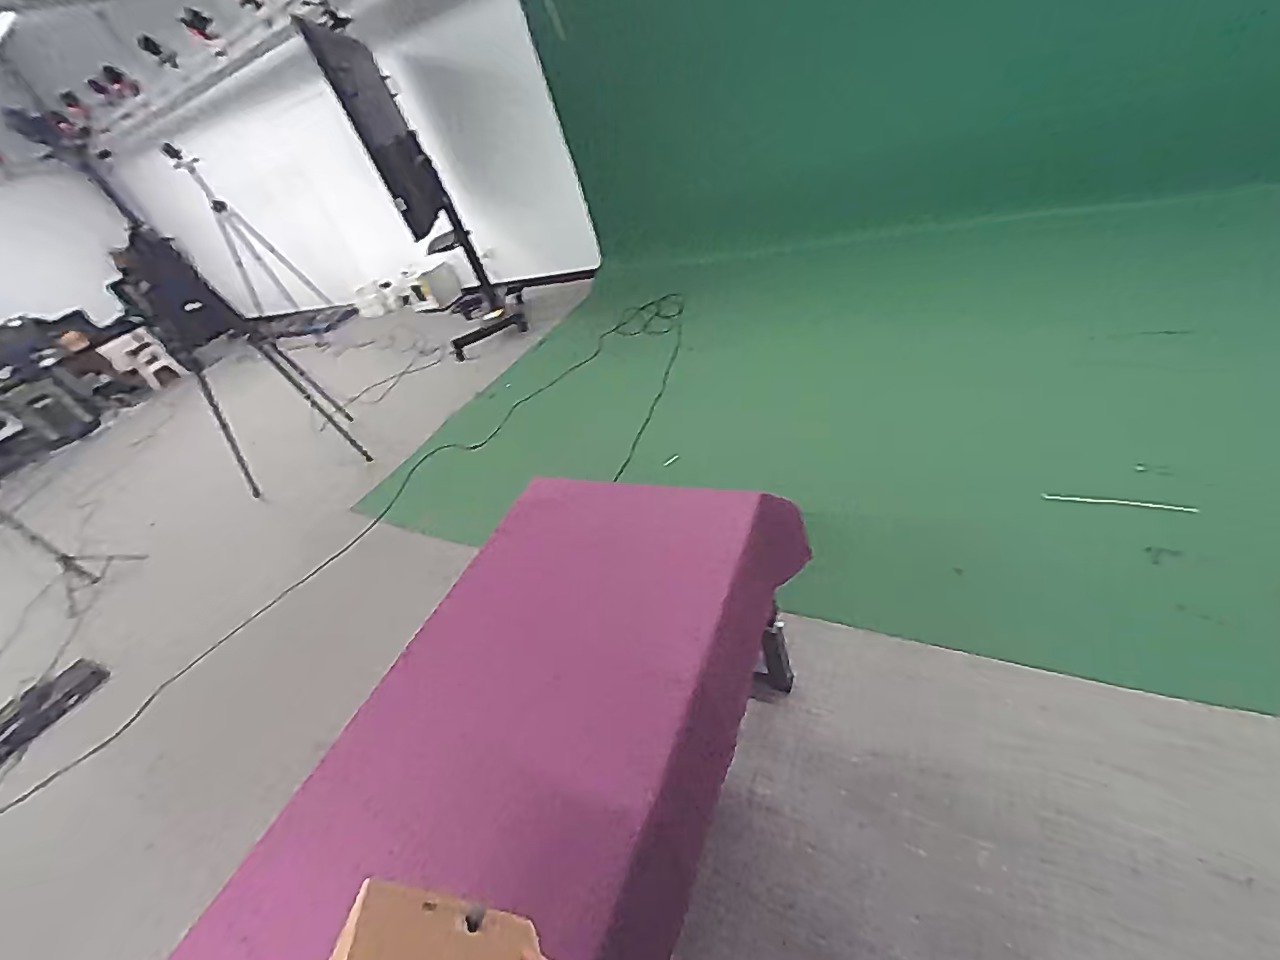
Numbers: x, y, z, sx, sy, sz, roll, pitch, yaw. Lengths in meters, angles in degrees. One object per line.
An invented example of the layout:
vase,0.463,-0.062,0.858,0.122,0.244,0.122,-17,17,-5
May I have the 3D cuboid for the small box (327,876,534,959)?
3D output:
small box,-0.180,0.453,0.411,0.176,0.168,0.179,-28,39,67
